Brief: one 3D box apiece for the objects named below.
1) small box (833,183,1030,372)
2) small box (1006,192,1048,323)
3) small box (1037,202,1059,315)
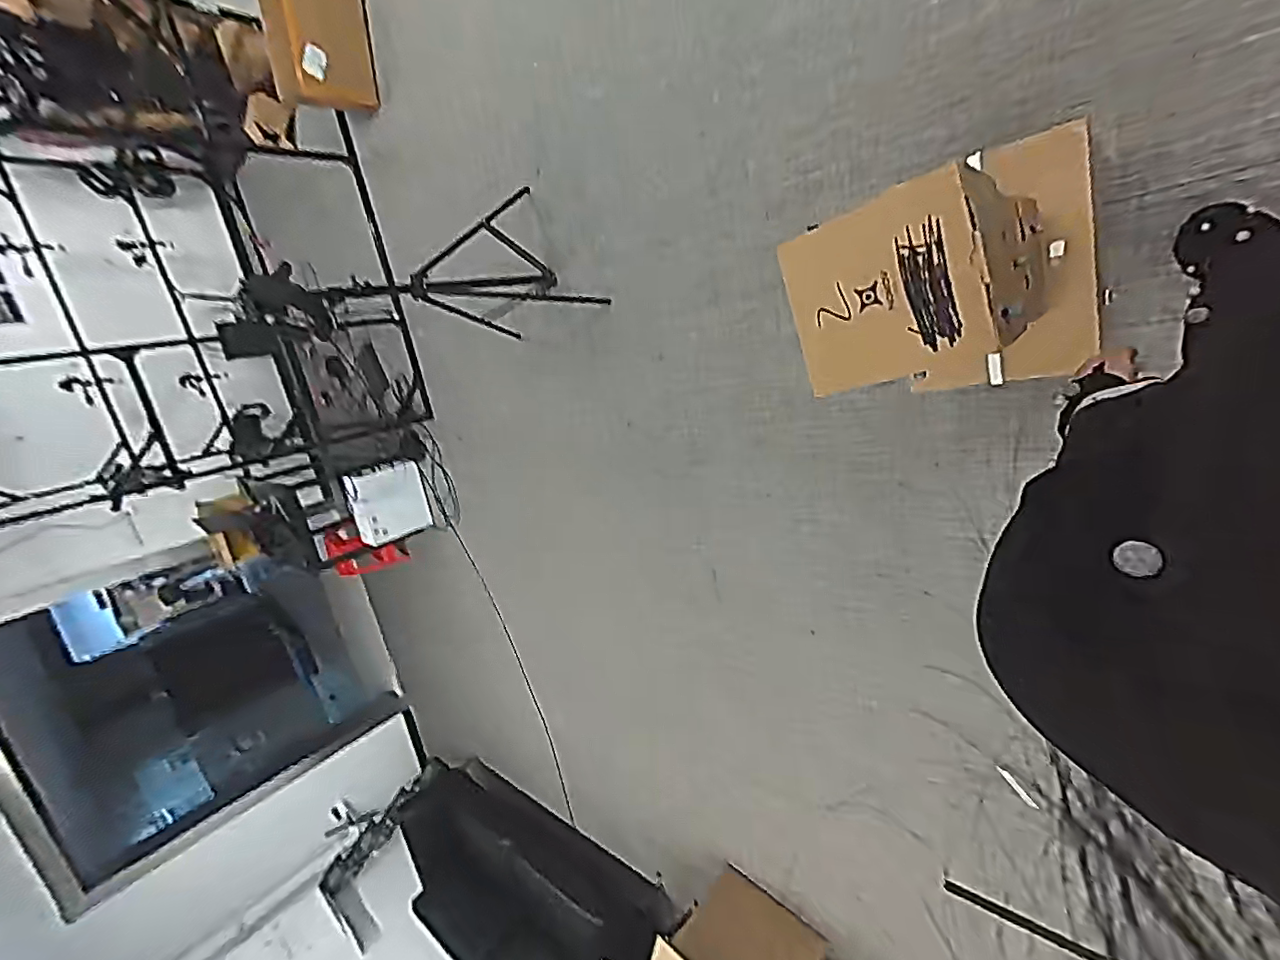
[{"bbox_3d":[0.378,-0.250,0.690,0.179,0.176,0.168,-10,100,45],"label":"small box"},{"bbox_3d":[0.486,-0.305,0.801,0.179,0.176,0.168,-4,104,45],"label":"small box"},{"bbox_3d":[0.589,-0.351,0.918,0.179,0.176,0.168,-3,107,43],"label":"small box"}]
